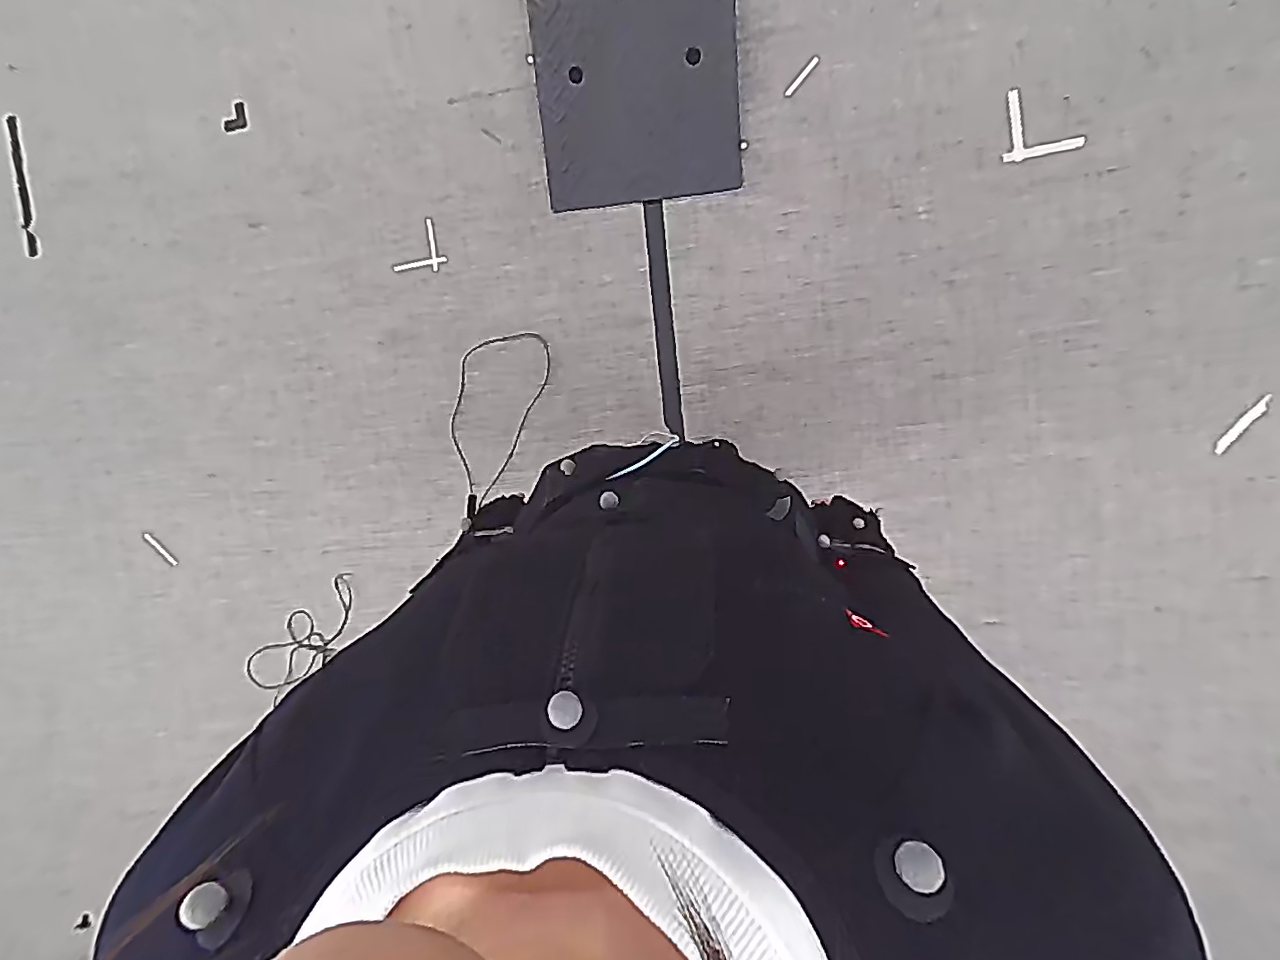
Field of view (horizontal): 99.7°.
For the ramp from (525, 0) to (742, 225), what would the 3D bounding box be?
[{"bbox_3d":[-0.035,-1.176,1.283,0.509,0.206,0.991,-7,94,7],"label":"ramp"}]
